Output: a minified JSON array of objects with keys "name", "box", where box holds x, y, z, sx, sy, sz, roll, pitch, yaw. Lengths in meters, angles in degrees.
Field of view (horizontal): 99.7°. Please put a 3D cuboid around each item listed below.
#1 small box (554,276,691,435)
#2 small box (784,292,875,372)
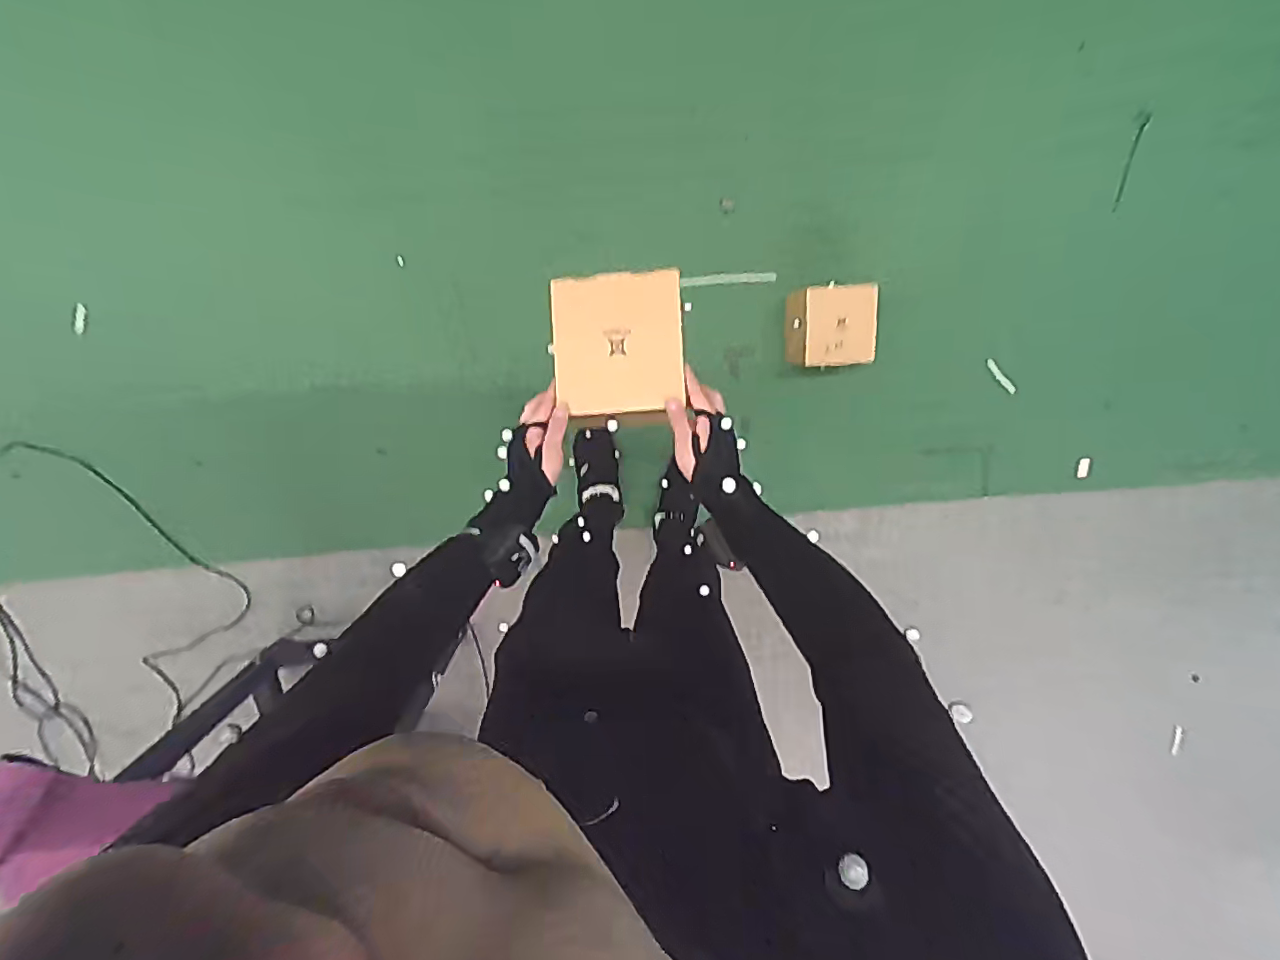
[{"name":"small box","box":[-0.016,-0.158,0.750,0.168,0.176,0.179,-4,87,4]},{"name":"small box","box":[0.460,-0.361,1.337,0.168,0.176,0.179,-4,103,-1]}]
